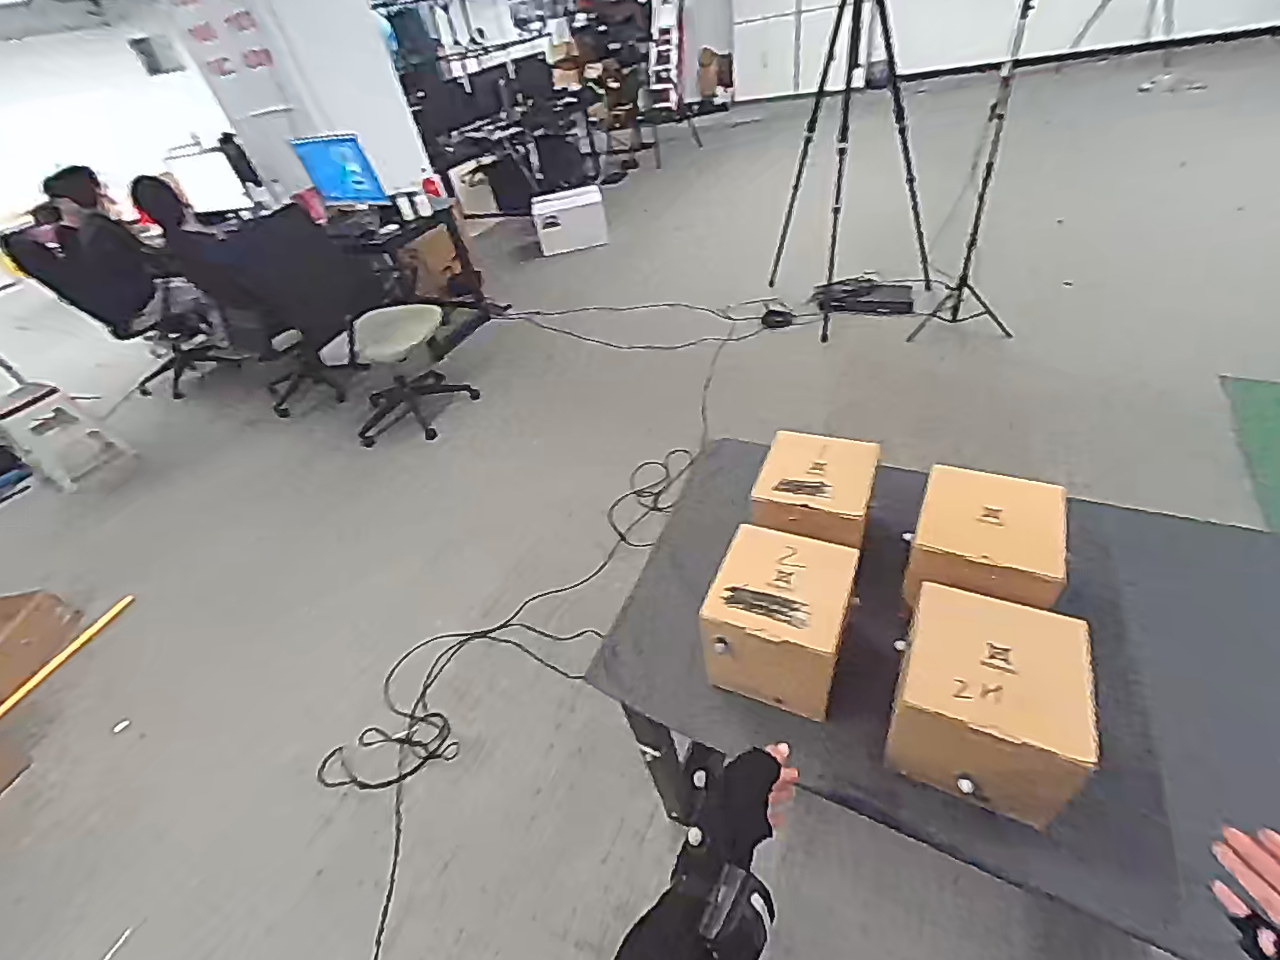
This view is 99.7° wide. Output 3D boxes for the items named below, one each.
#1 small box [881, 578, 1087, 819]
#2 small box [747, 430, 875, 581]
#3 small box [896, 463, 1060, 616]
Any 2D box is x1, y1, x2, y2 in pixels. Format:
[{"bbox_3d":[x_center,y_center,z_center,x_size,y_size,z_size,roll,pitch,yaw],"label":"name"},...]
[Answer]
[{"bbox_3d":[0.396,0.254,0.642,0.168,0.176,0.179,13,45,26],"label":"small box"},{"bbox_3d":[0.287,0.042,0.909,0.168,0.176,0.179,11,46,24],"label":"small box"},{"bbox_3d":[0.486,0.105,0.792,0.168,0.176,0.179,14,49,26],"label":"small box"}]
